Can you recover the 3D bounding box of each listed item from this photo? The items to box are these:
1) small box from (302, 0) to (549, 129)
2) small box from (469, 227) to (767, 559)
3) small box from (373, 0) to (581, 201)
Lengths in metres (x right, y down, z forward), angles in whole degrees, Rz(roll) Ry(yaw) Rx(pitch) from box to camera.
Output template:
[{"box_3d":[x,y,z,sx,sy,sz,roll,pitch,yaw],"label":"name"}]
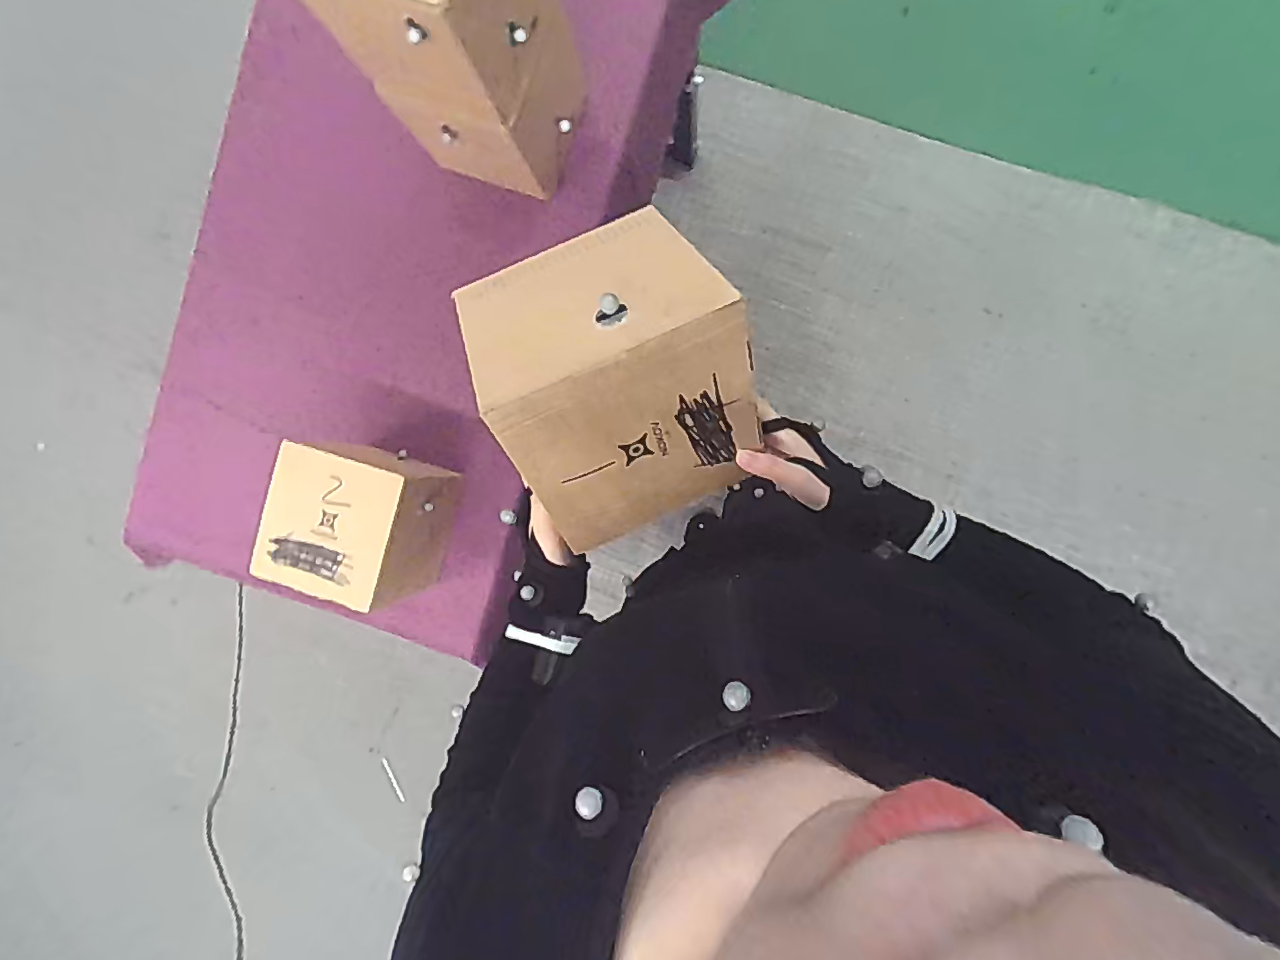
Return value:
[{"box_3d":[-0.212,-0.492,0.535,0.179,0.176,0.168,20,93,4],"label":"small box"},{"box_3d":[-0.018,-0.073,0.437,0.179,0.168,0.176,-23,48,-2],"label":"small box"},{"box_3d":[-0.196,-0.494,0.697,0.179,0.176,0.168,20,94,5],"label":"small box"}]
